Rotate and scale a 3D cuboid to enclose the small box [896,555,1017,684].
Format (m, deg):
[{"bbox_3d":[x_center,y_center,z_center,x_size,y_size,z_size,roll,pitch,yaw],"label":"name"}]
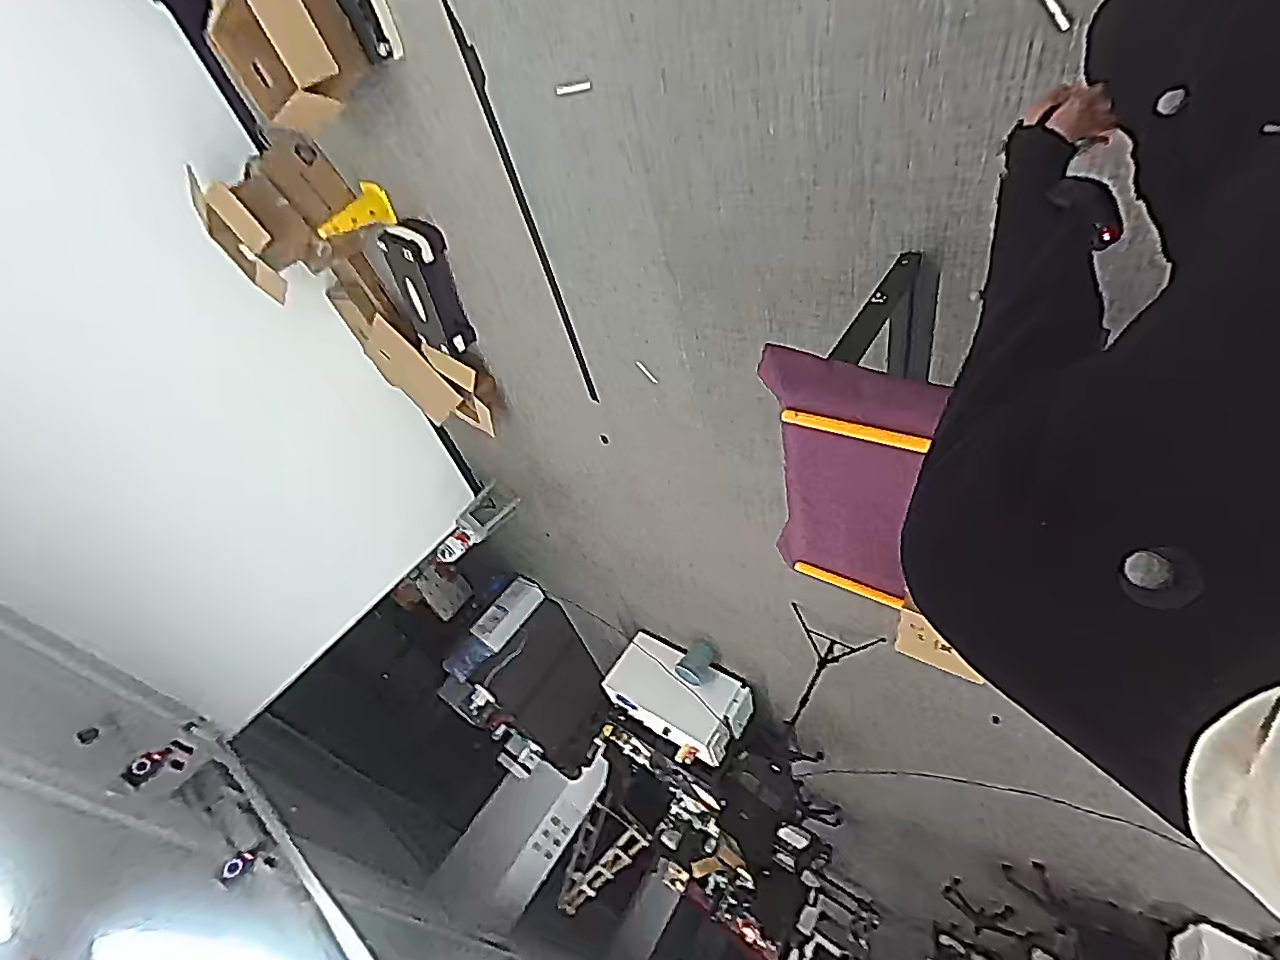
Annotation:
[{"bbox_3d":[0.663,0.285,1.136,0.179,0.176,0.168,19,141,34],"label":"small box"}]
